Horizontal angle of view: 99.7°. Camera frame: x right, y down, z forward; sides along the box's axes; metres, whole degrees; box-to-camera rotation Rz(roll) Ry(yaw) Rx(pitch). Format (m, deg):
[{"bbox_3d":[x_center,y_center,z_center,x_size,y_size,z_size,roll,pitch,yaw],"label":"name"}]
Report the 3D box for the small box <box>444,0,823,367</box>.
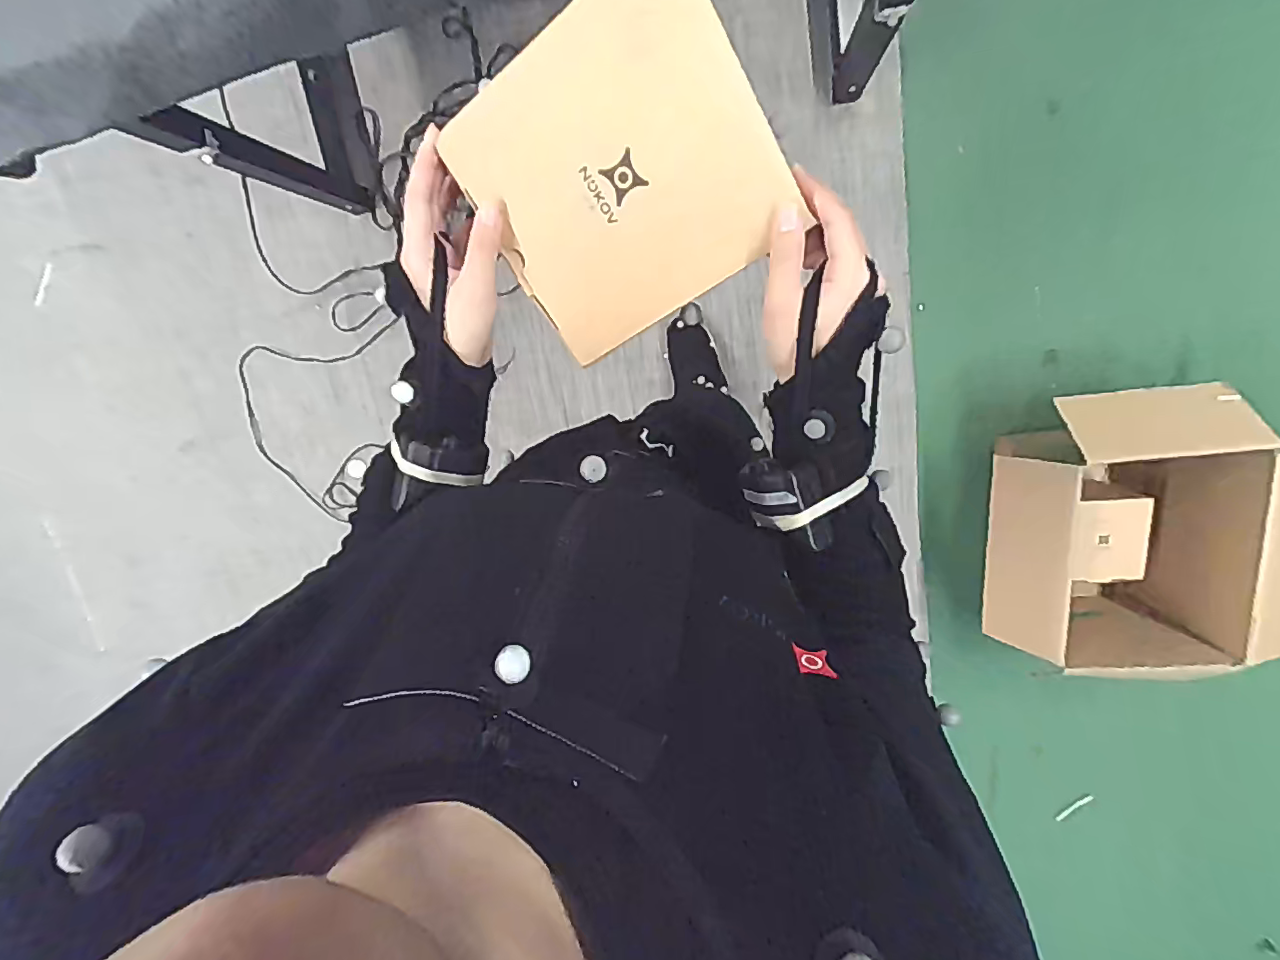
[{"bbox_3d":[0.007,-0.213,0.386,0.179,0.176,0.168,-26,110,24],"label":"small box"}]
